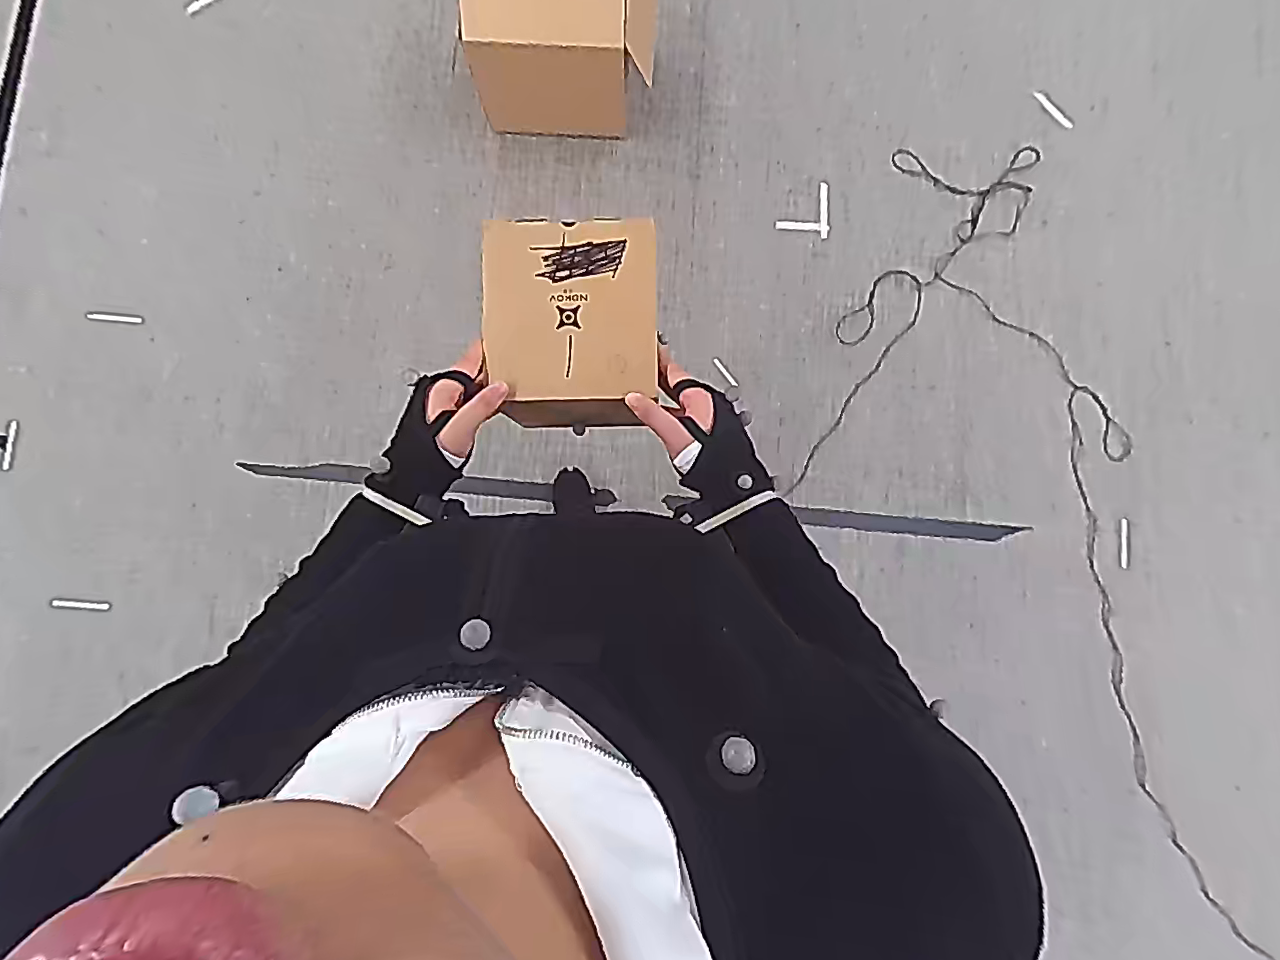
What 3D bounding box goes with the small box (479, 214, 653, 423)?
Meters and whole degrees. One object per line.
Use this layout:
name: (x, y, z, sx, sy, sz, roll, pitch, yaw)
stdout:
small box: (-0.070, -0.162, 0.592, 0.168, 0.176, 0.179, -1, 87, 0)
